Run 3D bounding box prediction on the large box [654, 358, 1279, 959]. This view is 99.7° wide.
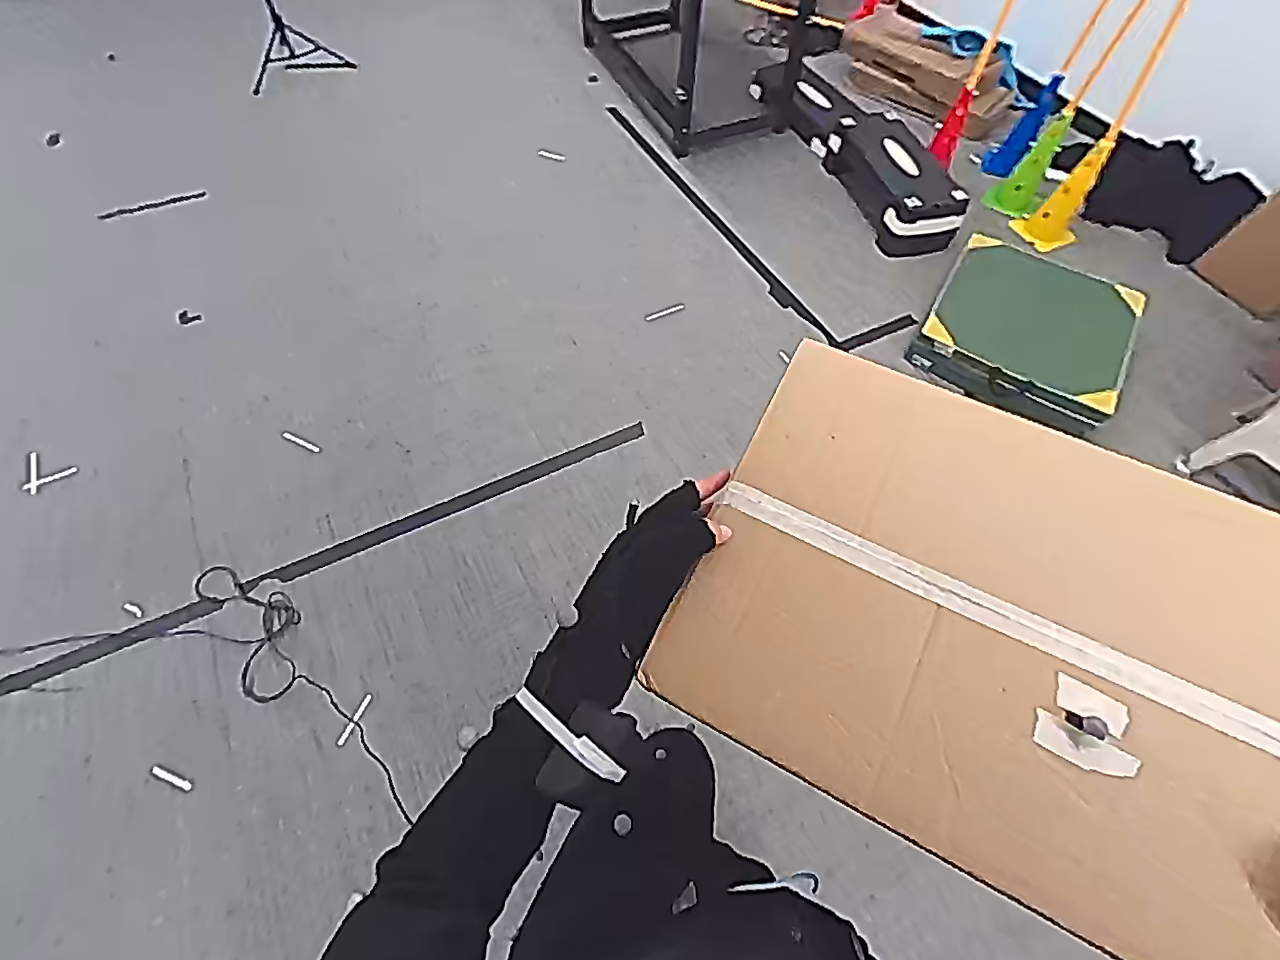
[{"bbox_3d":[0.261,0.148,0.529,0.408,0.320,0.320,25,75,13],"label":"large box"}]
